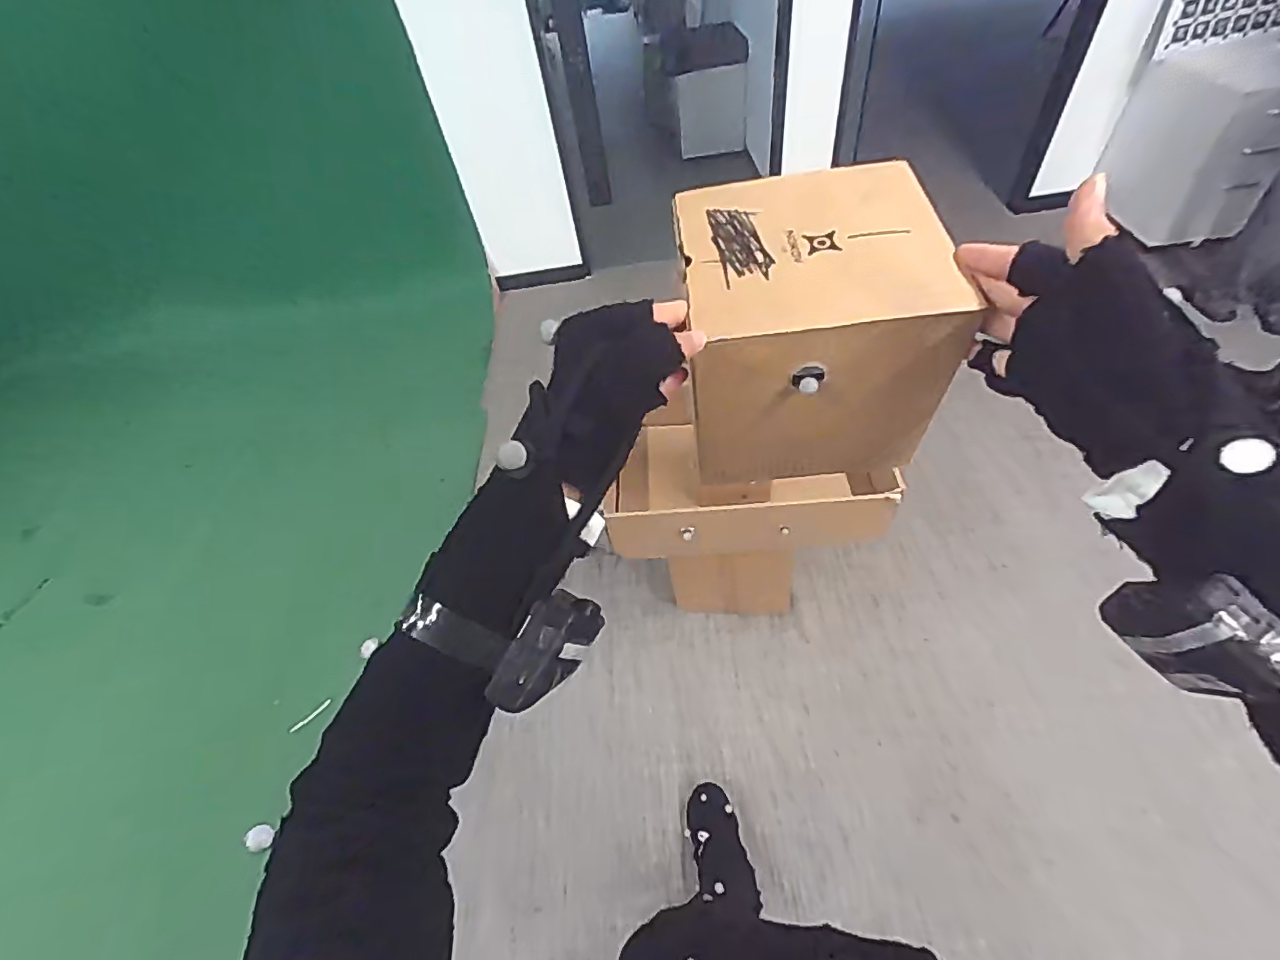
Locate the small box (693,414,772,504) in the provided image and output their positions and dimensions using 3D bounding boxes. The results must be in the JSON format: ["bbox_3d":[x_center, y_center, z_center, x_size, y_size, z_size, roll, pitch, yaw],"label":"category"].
[{"bbox_3d":[0.213,-0.056,1.256,0.168,0.176,0.179,-4,48,3],"label":"small box"}]

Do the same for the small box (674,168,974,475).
[{"bbox_3d":[0.126,-0.117,0.442,0.179,0.176,0.168,-5,57,5],"label":"small box"}]
